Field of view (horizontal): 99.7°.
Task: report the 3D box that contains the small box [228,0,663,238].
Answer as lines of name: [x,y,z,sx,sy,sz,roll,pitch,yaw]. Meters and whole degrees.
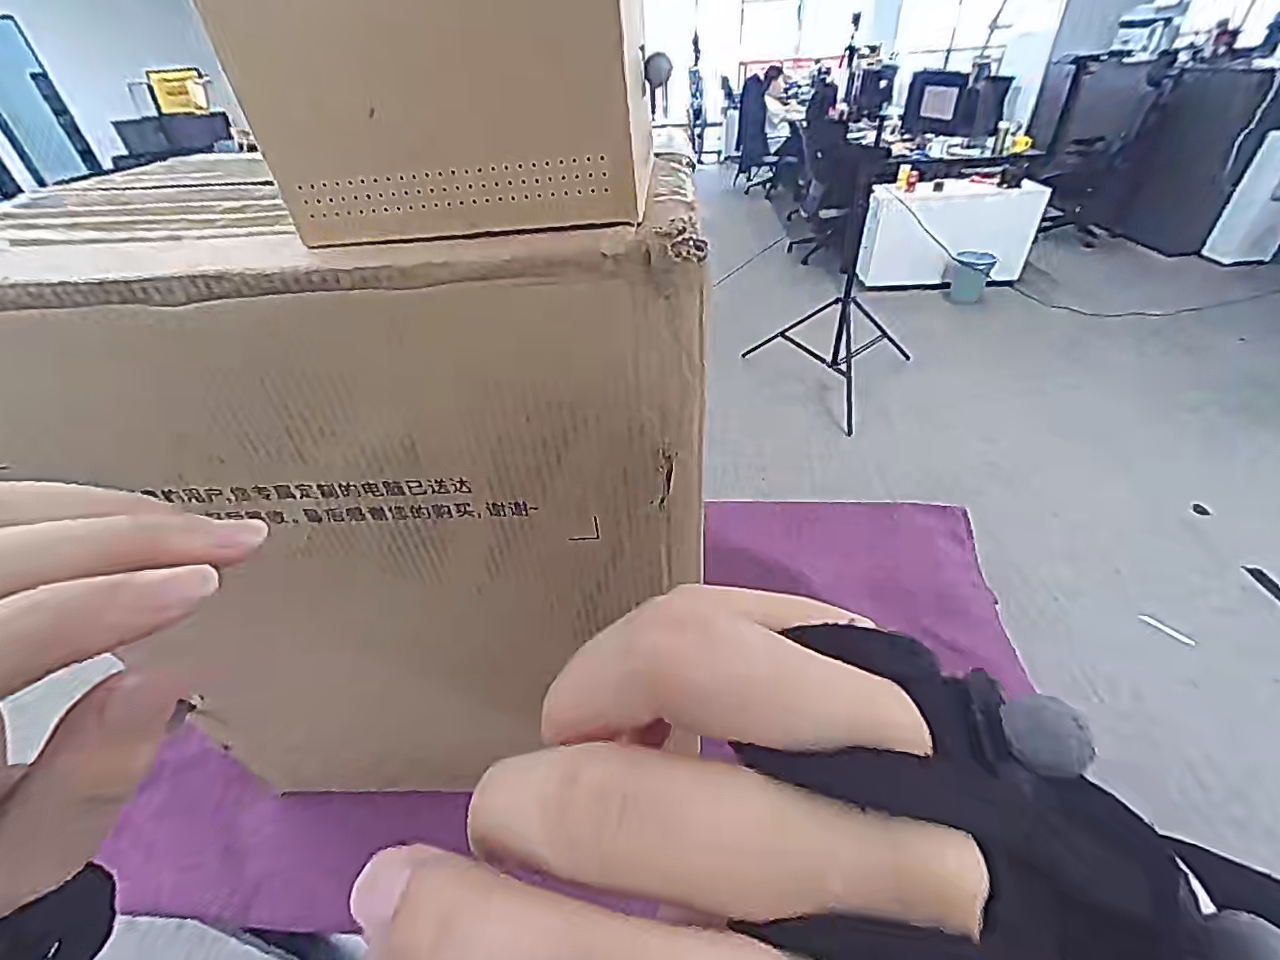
small box: [-0.083,-0.234,0.277,0.179,0.176,0.168,-2,40,5]
